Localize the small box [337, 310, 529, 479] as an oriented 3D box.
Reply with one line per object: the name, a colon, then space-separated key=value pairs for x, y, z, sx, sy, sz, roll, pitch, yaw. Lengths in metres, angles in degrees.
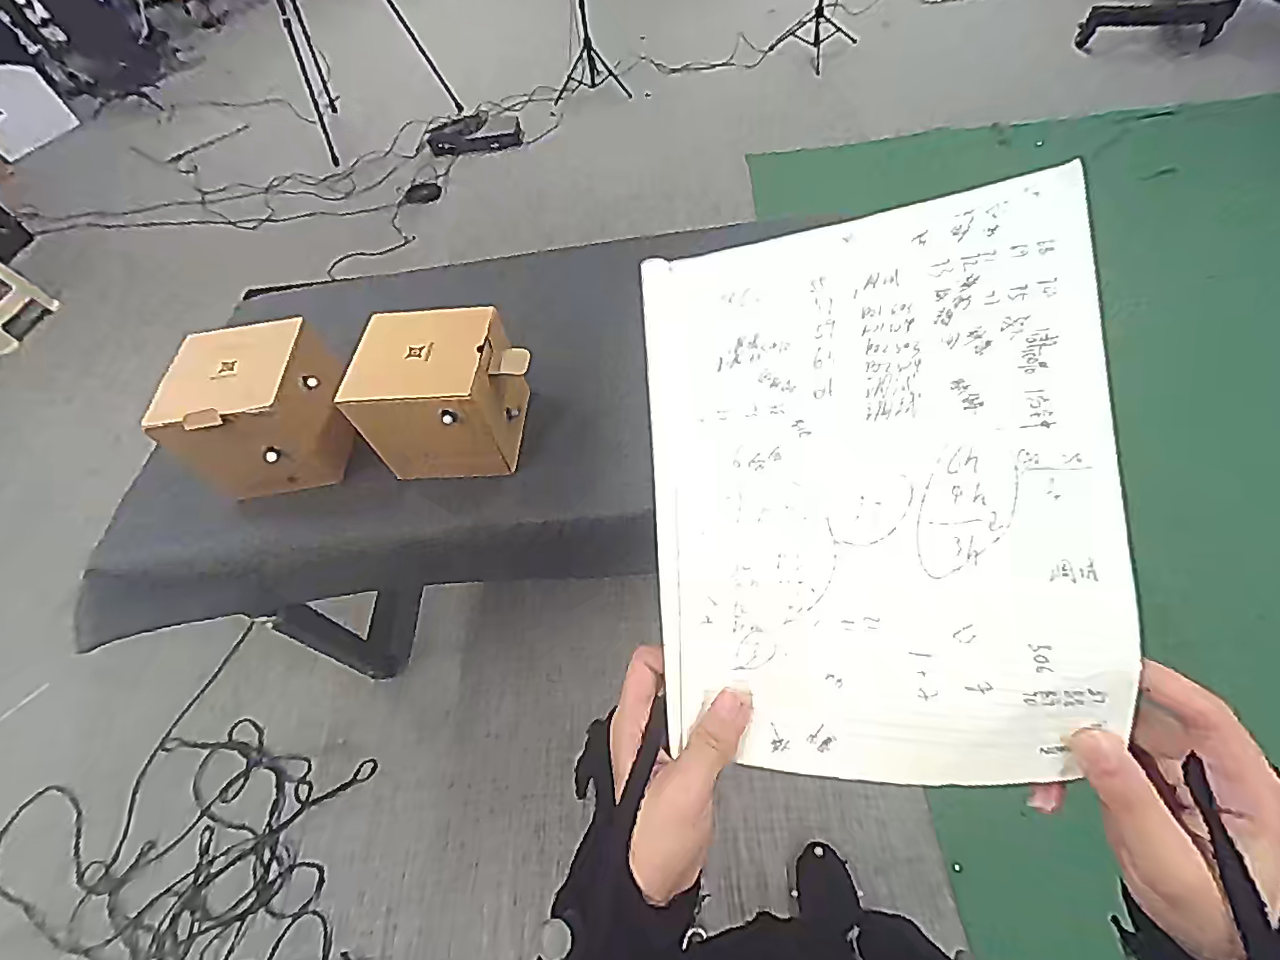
small box: x=-0.271 y=-0.113 z=0.754 sx=0.179 sy=0.176 sz=0.168 roll=-2 pitch=55 yaw=5

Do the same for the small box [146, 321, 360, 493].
small box: x=-0.528 y=-0.095 z=0.774 sx=0.168 sy=0.176 sz=0.179 roll=-9 pitch=54 yaw=0
